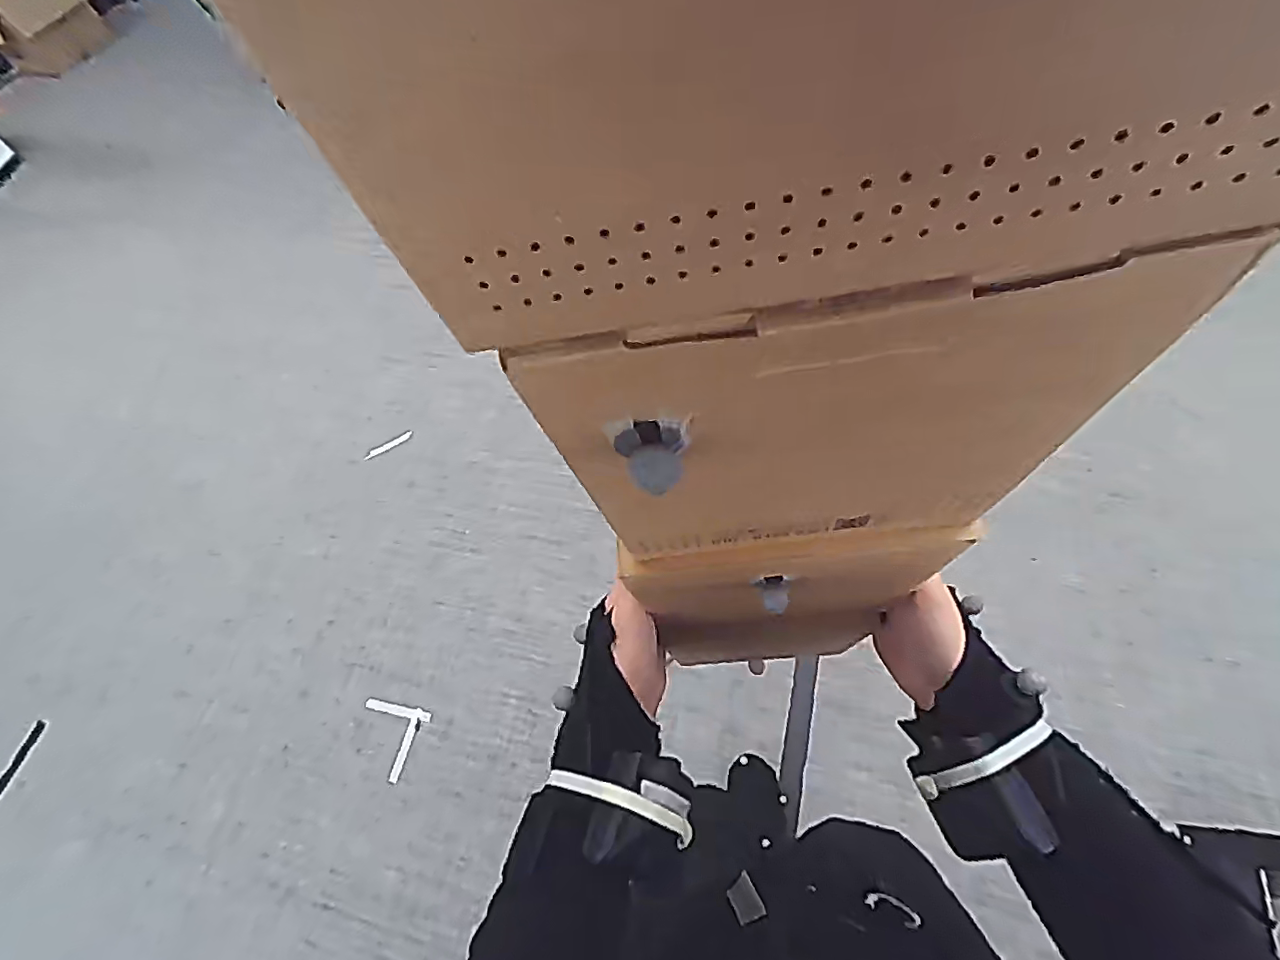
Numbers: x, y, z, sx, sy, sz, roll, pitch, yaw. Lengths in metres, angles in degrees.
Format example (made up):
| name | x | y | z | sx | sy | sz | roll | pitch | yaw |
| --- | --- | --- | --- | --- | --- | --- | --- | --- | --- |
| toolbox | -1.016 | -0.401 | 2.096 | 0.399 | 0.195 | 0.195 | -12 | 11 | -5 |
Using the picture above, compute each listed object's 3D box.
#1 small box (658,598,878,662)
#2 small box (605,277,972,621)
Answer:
| name | x | y | z | sx | sy | sz | roll | pitch | yaw |
| --- | --- | --- | --- | --- | --- | --- | --- | --- | --- |
| small box | 0.104 | 0.069 | 0.512 | 0.168 | 0.176 | 0.179 | -7 | 66 | 8 |
| small box | 0.081 | -0.004 | 0.368 | 0.179 | 0.176 | 0.168 | -8 | 65 | 8 |
